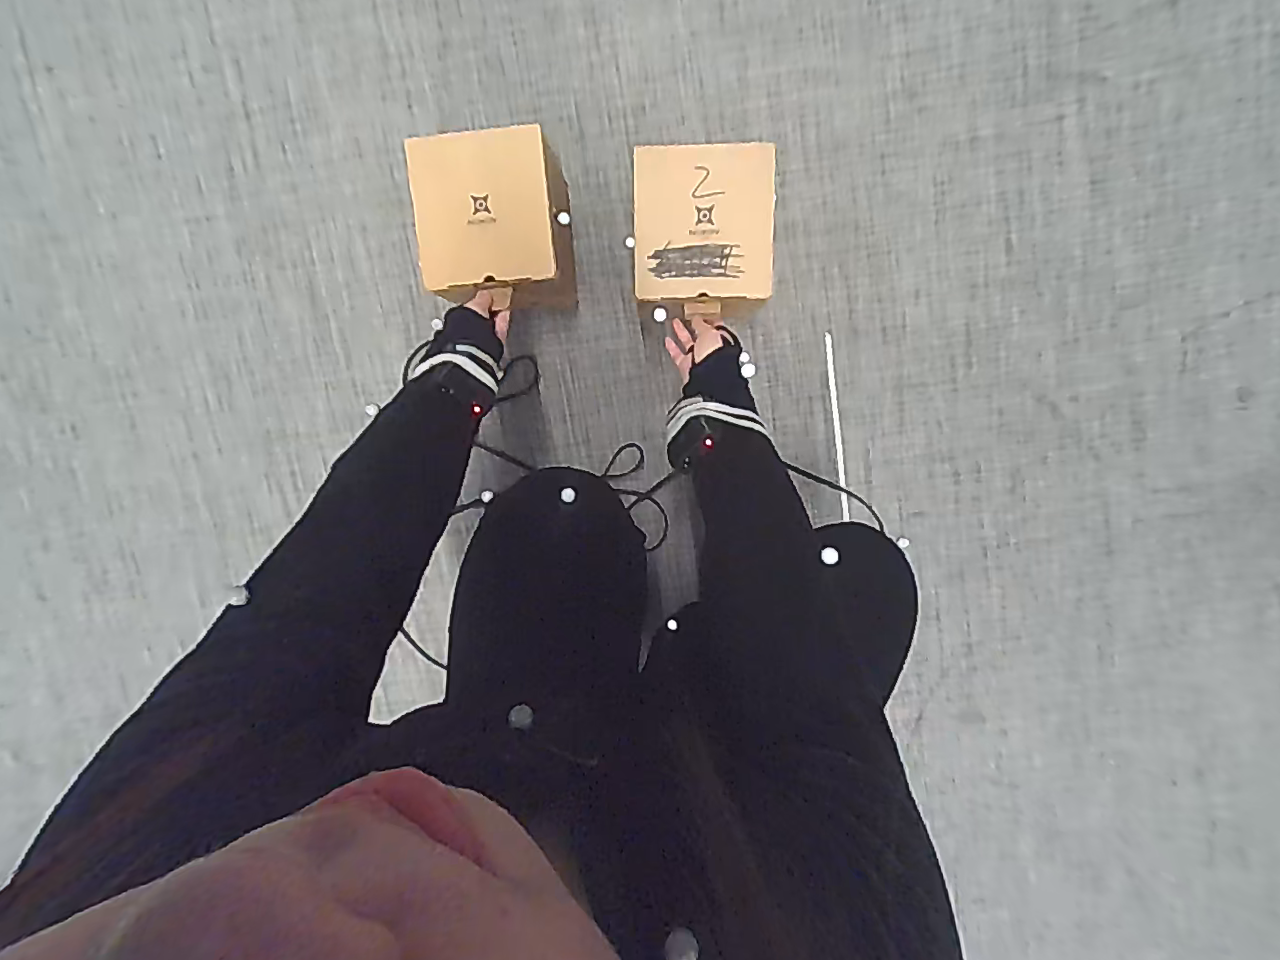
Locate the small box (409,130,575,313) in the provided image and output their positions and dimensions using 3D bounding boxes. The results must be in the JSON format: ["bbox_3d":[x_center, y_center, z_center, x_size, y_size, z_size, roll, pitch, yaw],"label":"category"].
[{"bbox_3d":[-0.187,-0.335,0.732,0.168,0.176,0.179,-4,99,3],"label":"small box"}]
